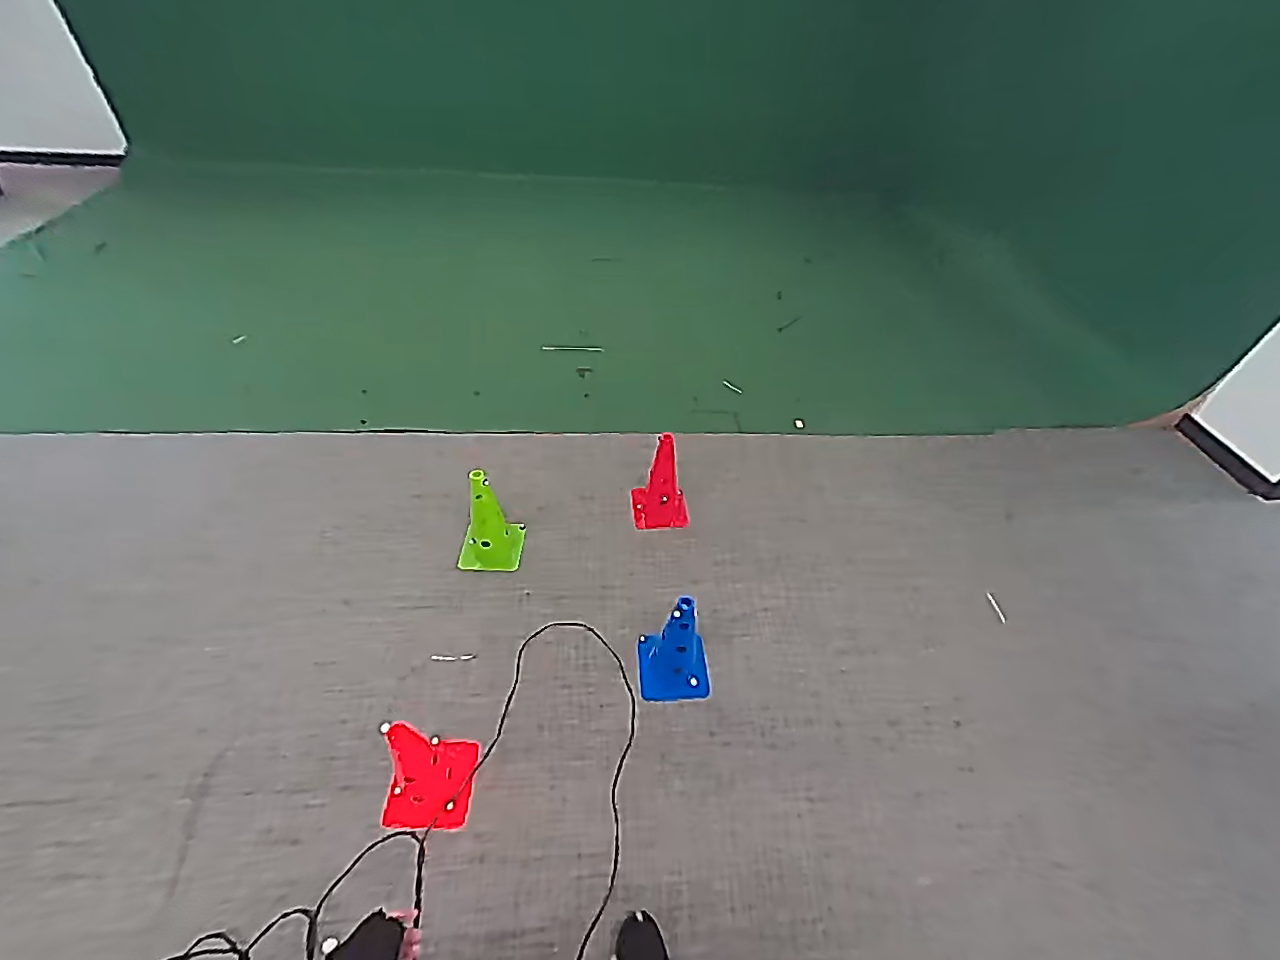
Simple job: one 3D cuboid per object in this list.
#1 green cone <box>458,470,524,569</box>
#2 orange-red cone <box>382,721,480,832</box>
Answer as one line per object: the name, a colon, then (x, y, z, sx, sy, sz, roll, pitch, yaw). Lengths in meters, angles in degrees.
green cone: (-0.499, 0.104, 1.728, 0.200, 0.368, 0.202, 1, 47, -3)
orange-red cone: (-0.500, 0.629, 1.218, 0.198, 0.360, 0.199, 4, 44, -2)
